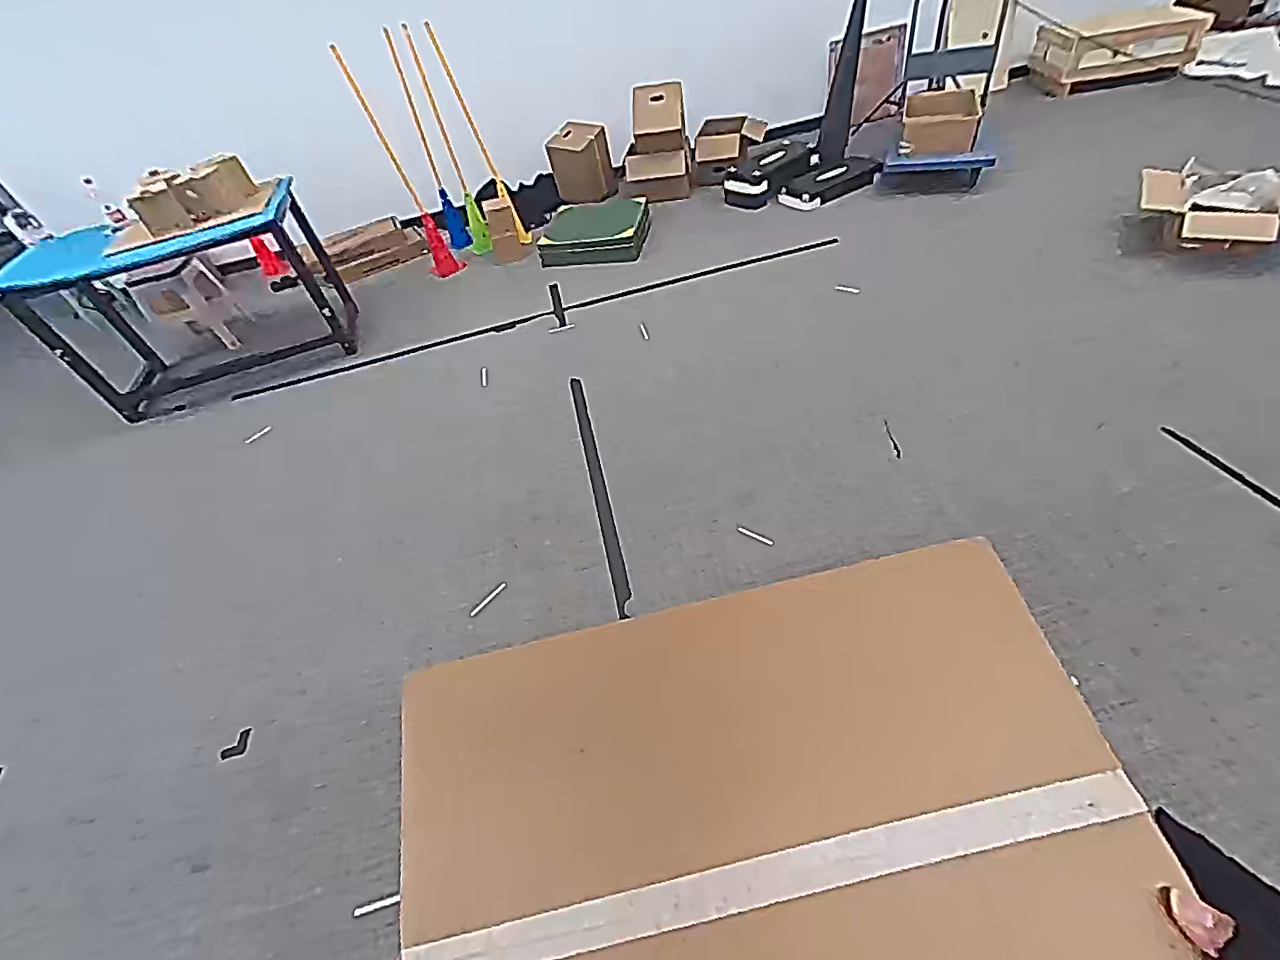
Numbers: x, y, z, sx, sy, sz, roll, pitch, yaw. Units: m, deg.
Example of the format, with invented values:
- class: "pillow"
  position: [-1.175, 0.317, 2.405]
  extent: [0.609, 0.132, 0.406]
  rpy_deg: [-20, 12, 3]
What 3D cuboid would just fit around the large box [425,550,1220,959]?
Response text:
- class: "large box"
  position: [0.092, 0.297, 0.425]
  extent: [0.408, 0.320, 0.320]
  rpy_deg: [-14, 61, 0]
